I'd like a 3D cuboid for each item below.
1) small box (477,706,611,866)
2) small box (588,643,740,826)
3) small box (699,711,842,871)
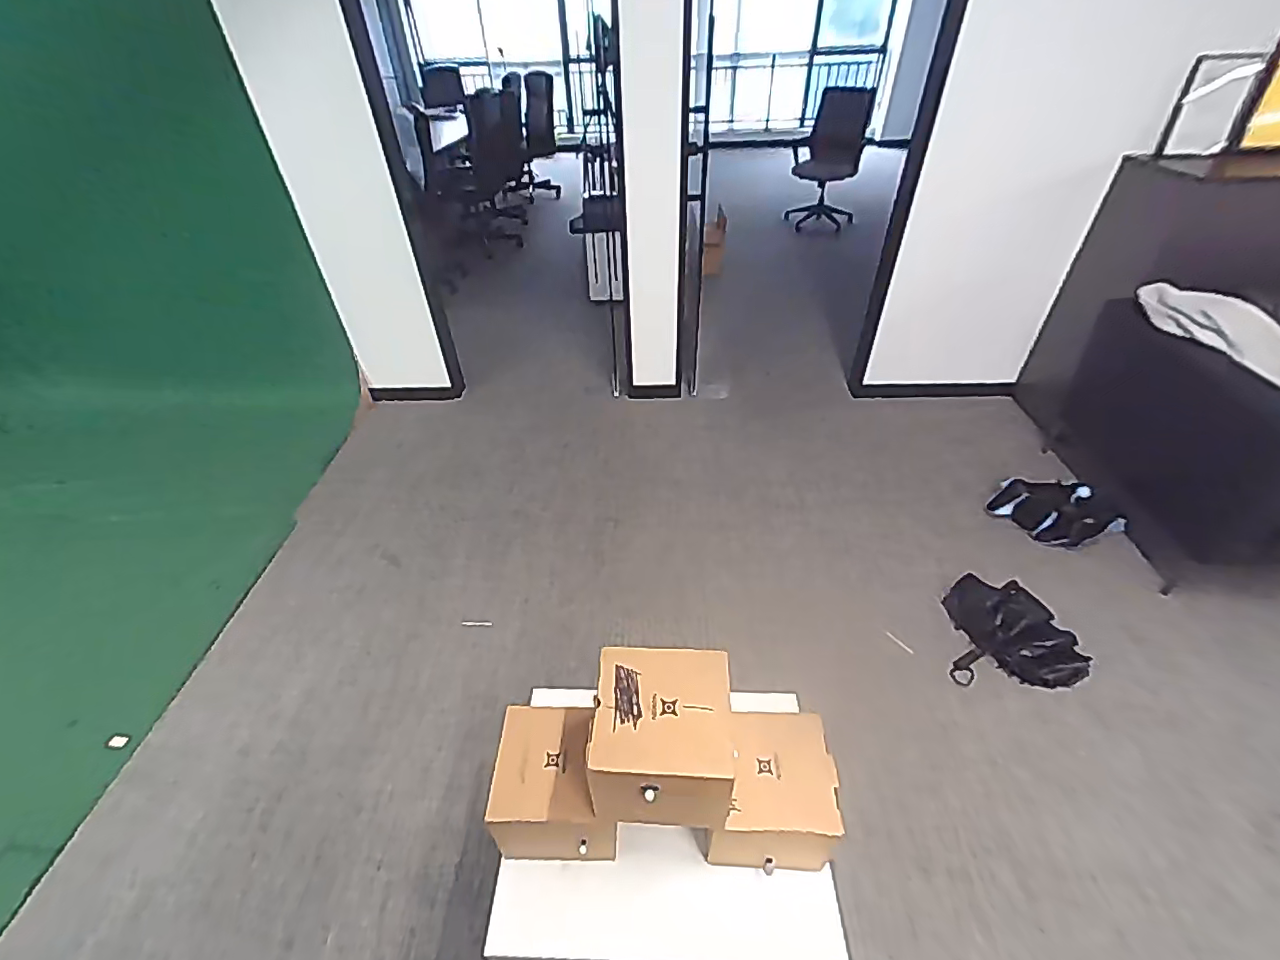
[{"bbox_3d":[-0.130,0.463,0.819,0.179,0.176,0.168,0,39,-2],"label":"small box"},{"bbox_3d":[0.030,0.338,0.719,0.179,0.176,0.168,3,40,1],"label":"small box"},{"bbox_3d":[0.182,0.472,0.821,0.179,0.176,0.168,1,40,1],"label":"small box"}]
